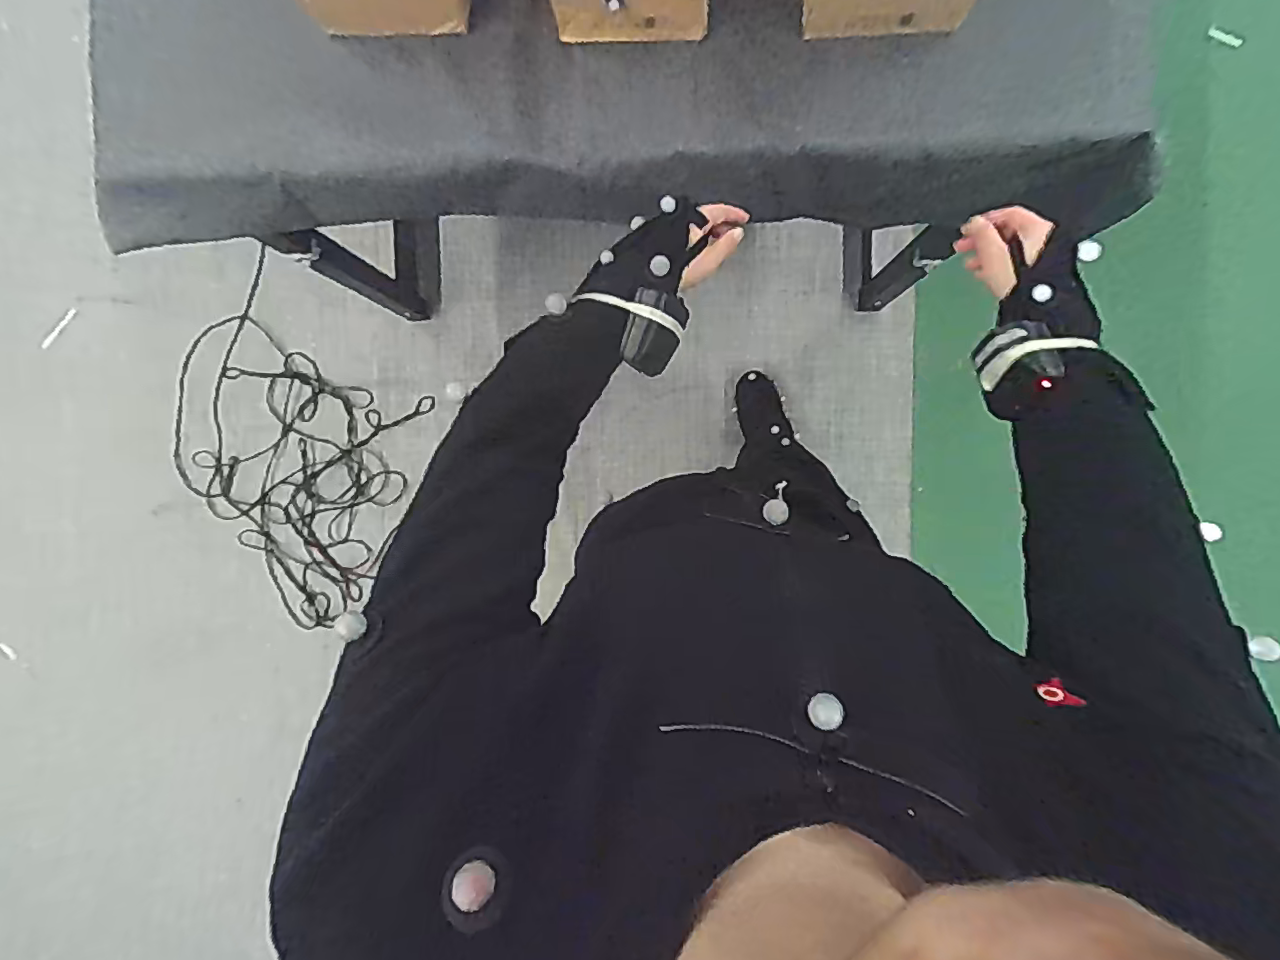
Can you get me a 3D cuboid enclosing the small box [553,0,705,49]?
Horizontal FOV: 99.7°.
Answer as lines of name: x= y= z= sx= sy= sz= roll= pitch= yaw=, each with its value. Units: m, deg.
small box: x=-0.013 y=-0.576 z=0.531 sx=0.168 sy=0.176 sz=0.179 roll=2 pitch=92 yaw=3
